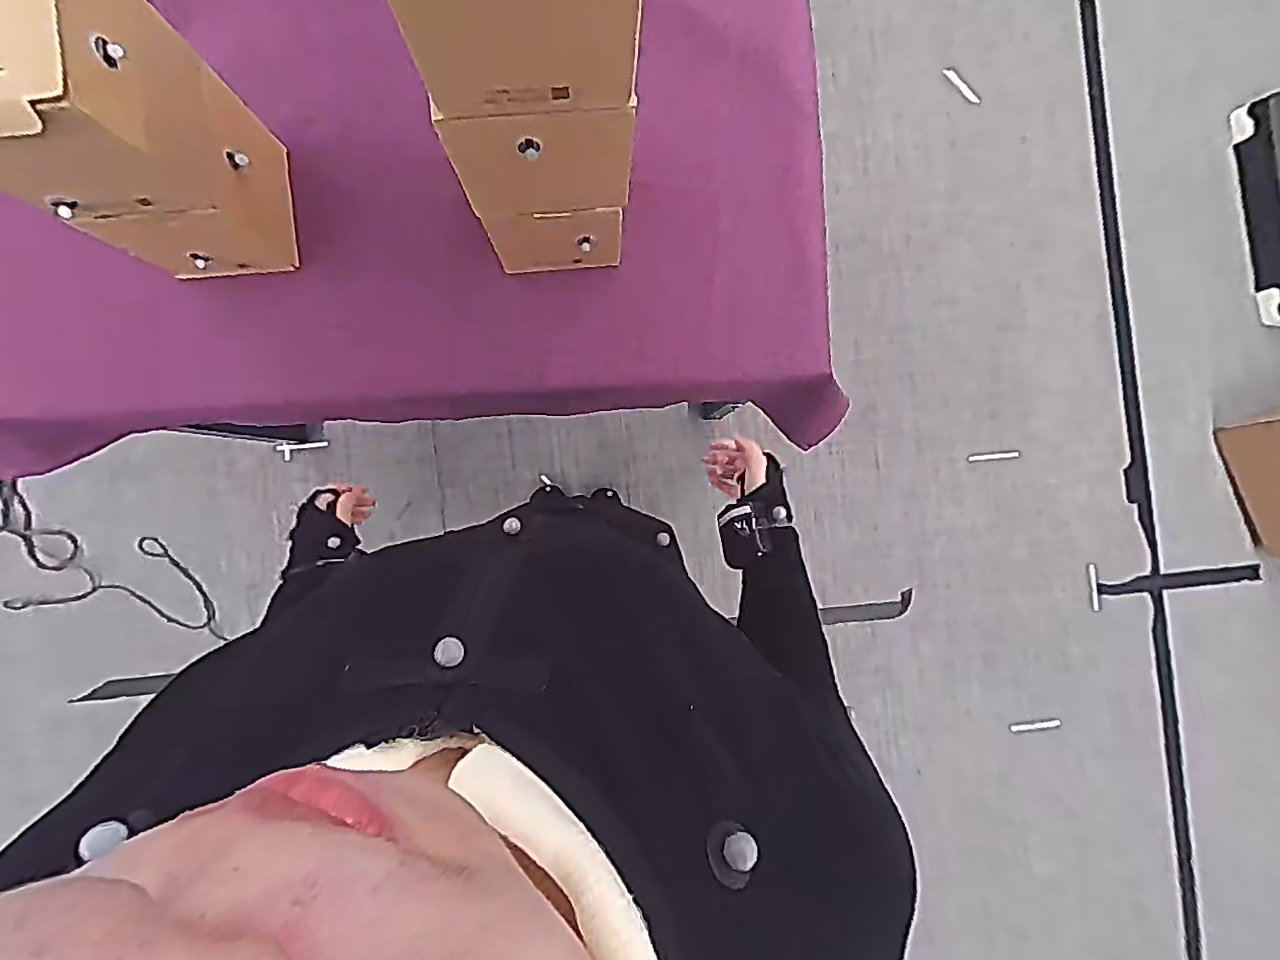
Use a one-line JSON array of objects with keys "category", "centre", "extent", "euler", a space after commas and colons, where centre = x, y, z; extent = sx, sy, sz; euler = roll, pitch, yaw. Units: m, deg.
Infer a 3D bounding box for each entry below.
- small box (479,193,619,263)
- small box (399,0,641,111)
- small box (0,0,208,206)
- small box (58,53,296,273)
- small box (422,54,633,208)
[{"category": "small box", "centre": [-0.114, -0.395, 0.700], "extent": [0.168, 0.176, 0.179], "euler": [-5, 90, -4]}, {"category": "small box", "centre": [-0.088, -0.398, 0.373], "extent": [0.168, 0.176, 0.179], "euler": [-5, 90, -4]}, {"category": "small box", "centre": [-0.552, -0.380, 0.508], "extent": [0.168, 0.176, 0.179], "euler": [-7, 90, -4]}, {"category": "small box", "centre": [-0.562, -0.380, 0.672], "extent": [0.168, 0.176, 0.179], "euler": [-6, 91, -4]}, {"category": "small box", "centre": [-0.104, -0.392, 0.536], "extent": [0.179, 0.176, 0.168], "euler": [-6, 91, -4]}]
